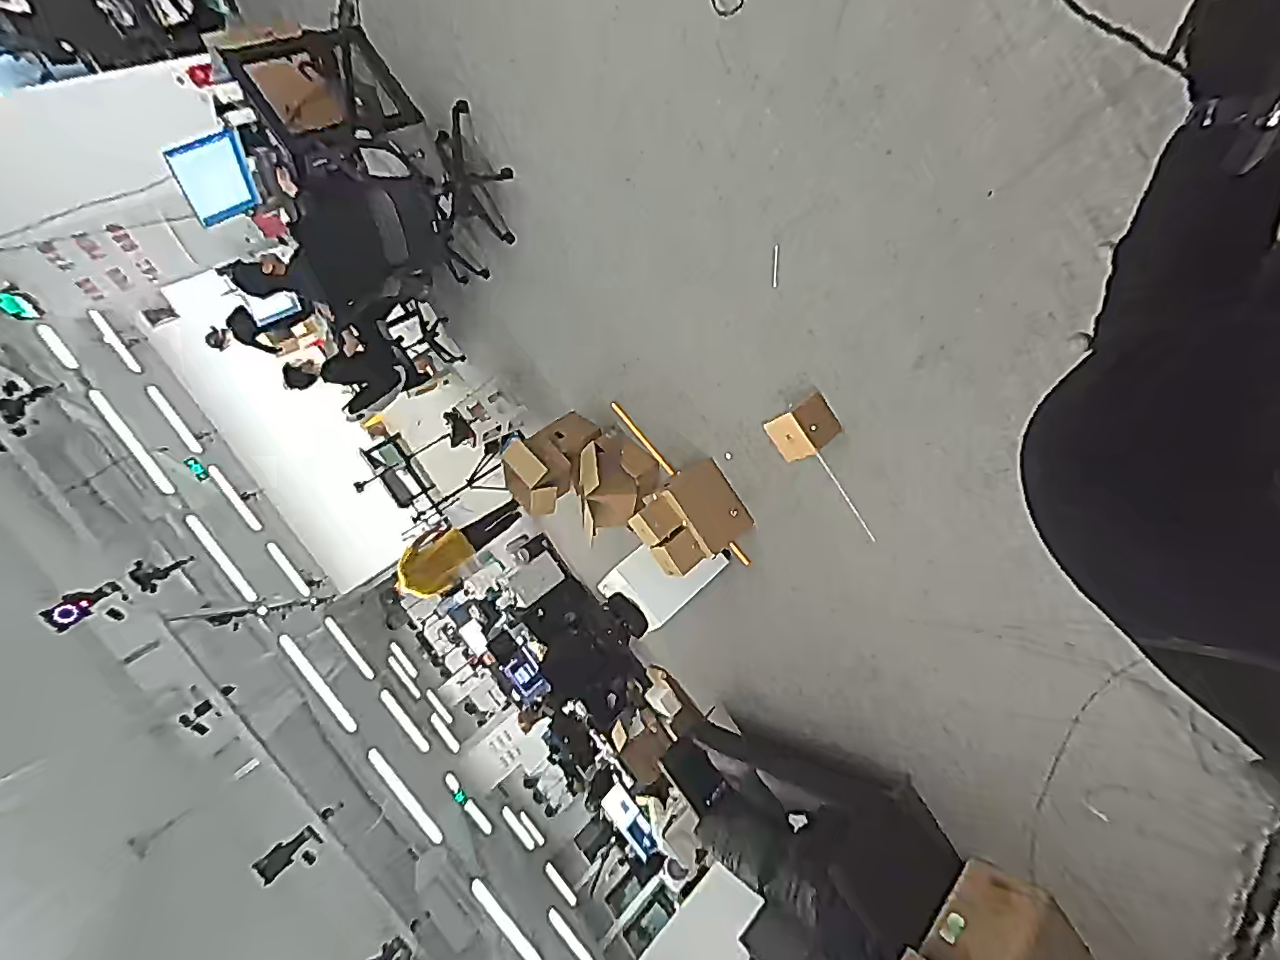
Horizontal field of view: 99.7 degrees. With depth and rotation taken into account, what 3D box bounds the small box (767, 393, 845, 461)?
[{"bbox_3d":[0.614,-0.202,1.994,0.179,0.176,0.168,54,155,-4],"label":"small box"}]
